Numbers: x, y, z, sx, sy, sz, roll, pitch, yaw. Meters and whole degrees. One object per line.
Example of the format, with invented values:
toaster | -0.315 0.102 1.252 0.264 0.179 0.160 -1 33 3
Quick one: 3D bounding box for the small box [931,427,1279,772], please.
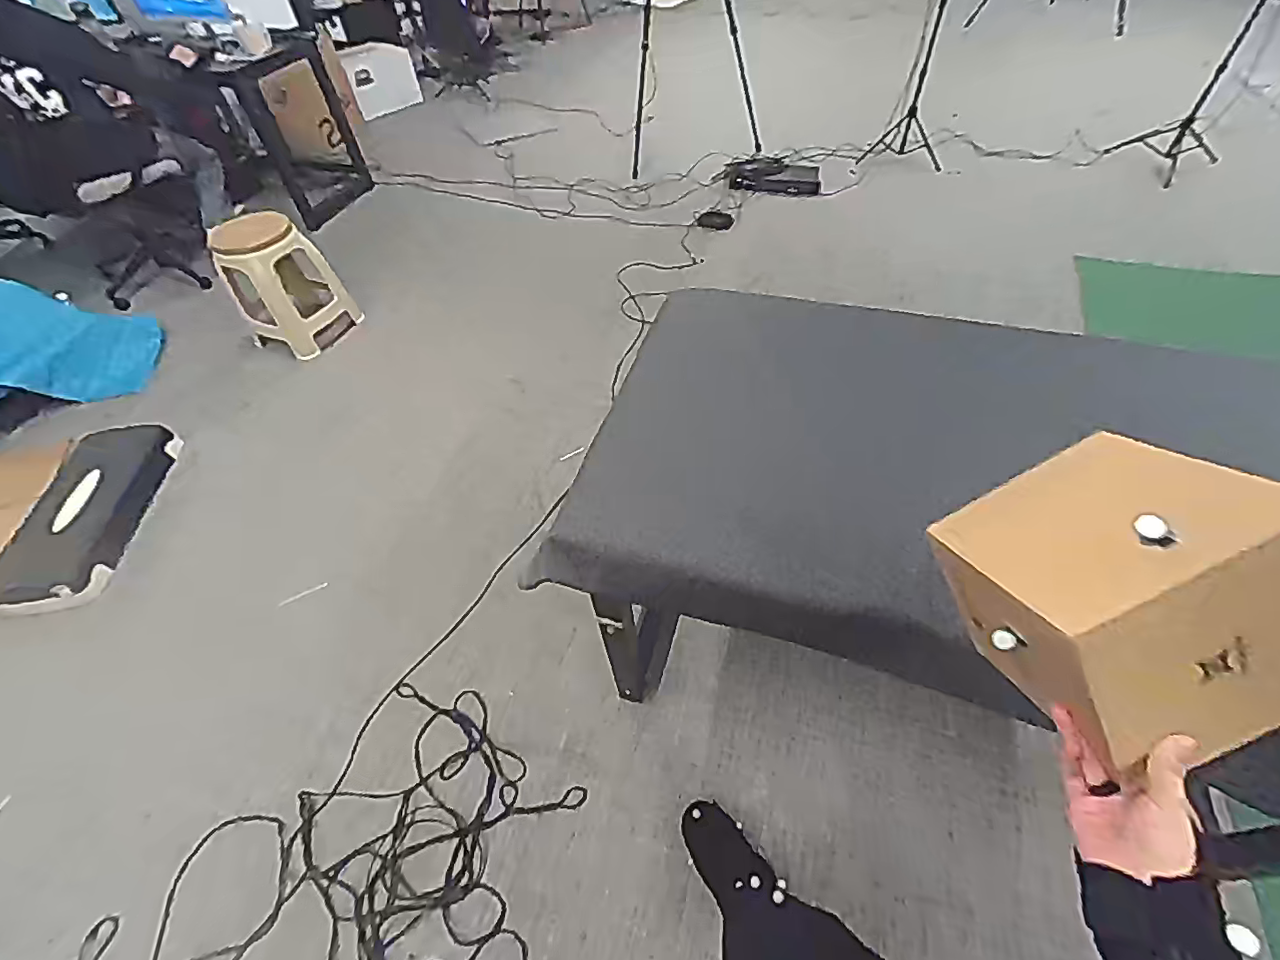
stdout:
small box | 0.371 0.081 0.437 0.179 0.168 0.176 -32 18 5
